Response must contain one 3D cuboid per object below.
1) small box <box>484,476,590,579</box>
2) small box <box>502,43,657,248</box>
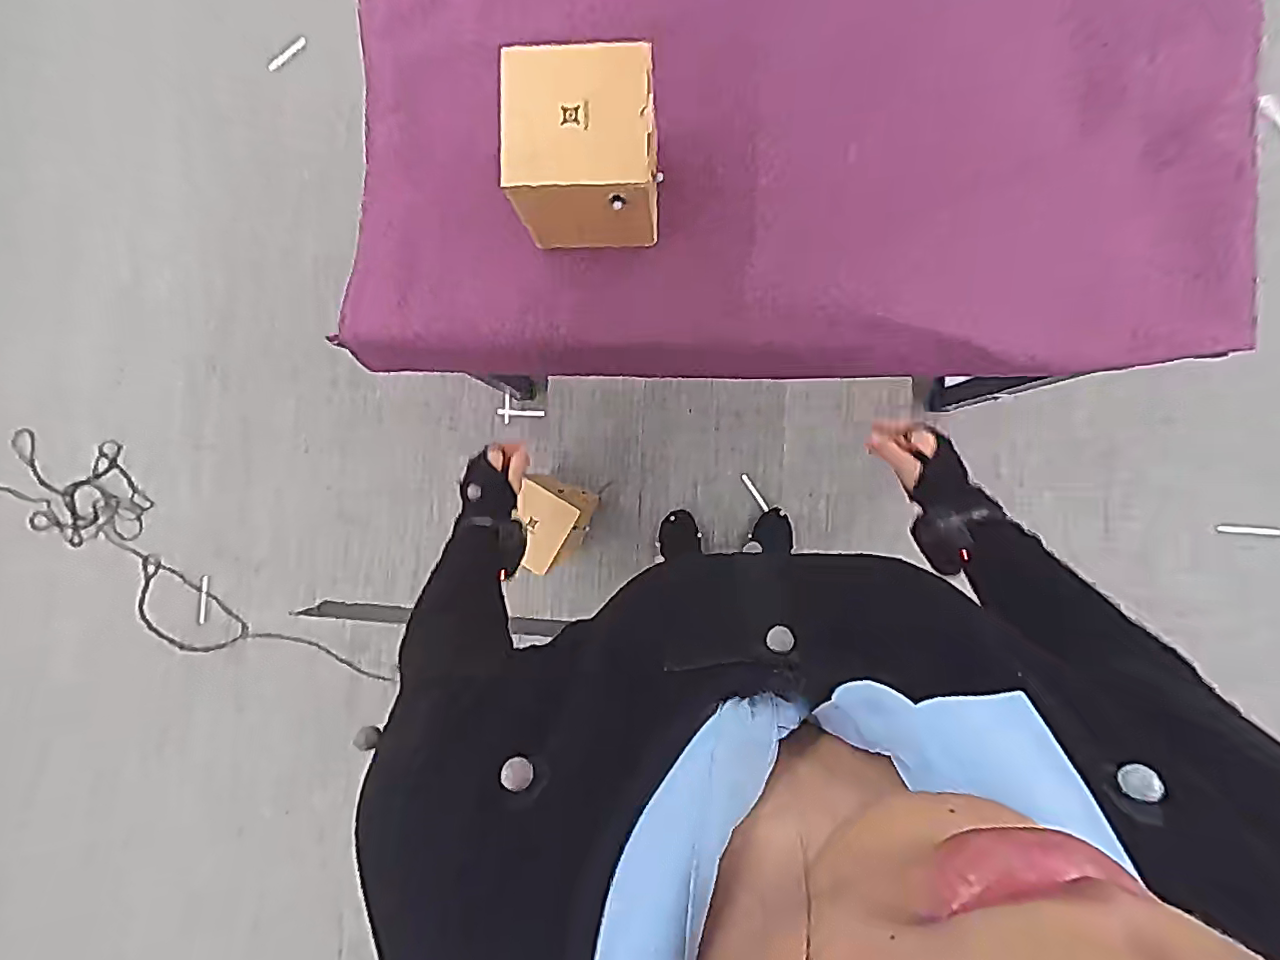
[{"bbox_3d":[-0.232,0.104,1.274,0.168,0.176,0.179,31,92,3],"label":"small box"},{"bbox_3d":[-0.069,-0.418,0.703,0.179,0.176,0.168,0,89,3],"label":"small box"}]
